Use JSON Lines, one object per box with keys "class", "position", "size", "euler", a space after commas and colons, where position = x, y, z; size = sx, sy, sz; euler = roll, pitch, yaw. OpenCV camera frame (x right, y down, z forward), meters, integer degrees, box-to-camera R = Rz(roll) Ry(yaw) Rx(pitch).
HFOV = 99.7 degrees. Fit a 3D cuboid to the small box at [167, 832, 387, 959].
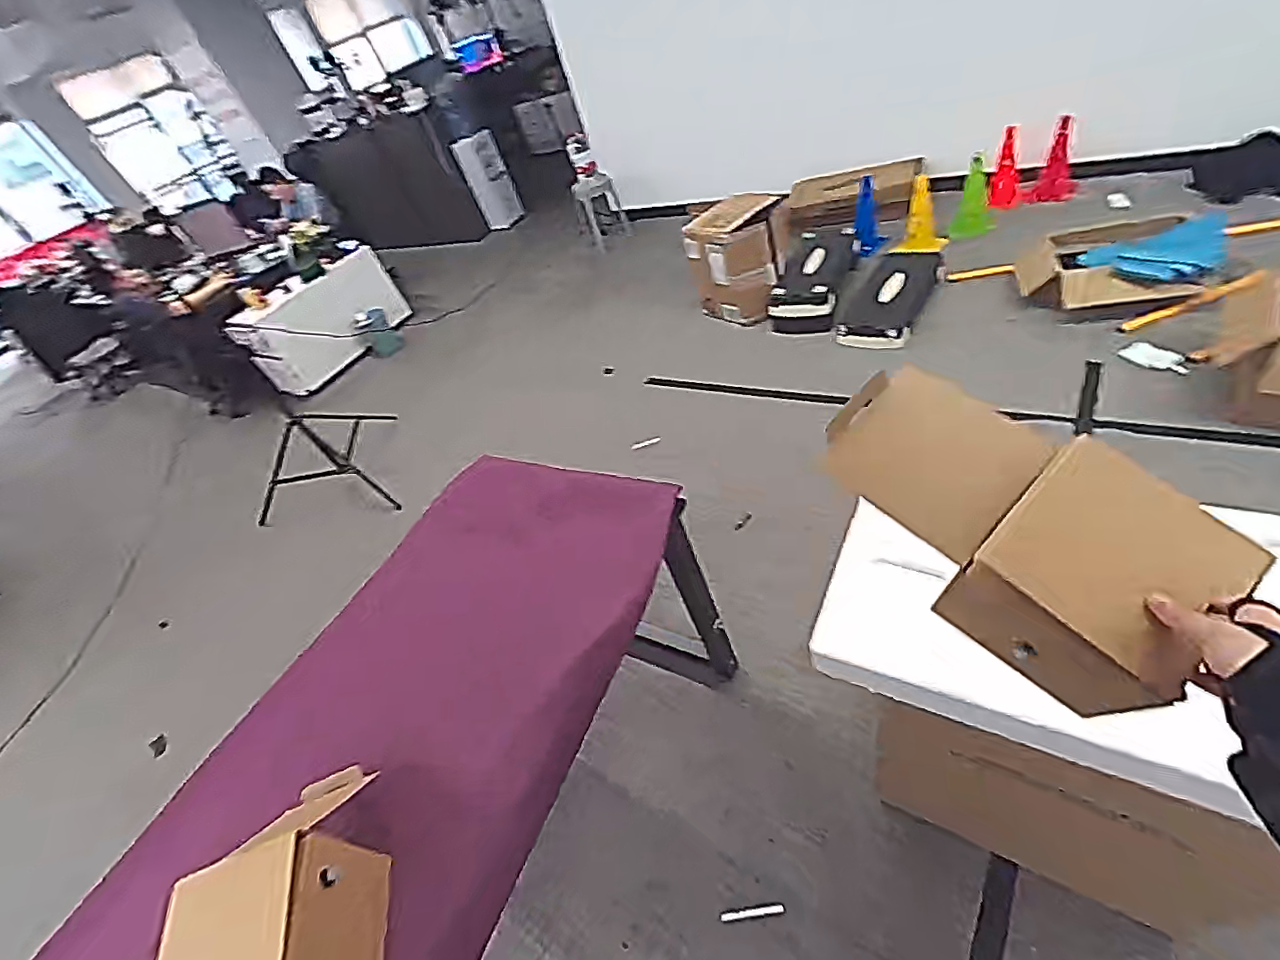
{"class": "small box", "position": [-0.437, 0.577, 0.662], "size": [0.168, 0.176, 0.179], "euler": [-25, 41, 1]}
